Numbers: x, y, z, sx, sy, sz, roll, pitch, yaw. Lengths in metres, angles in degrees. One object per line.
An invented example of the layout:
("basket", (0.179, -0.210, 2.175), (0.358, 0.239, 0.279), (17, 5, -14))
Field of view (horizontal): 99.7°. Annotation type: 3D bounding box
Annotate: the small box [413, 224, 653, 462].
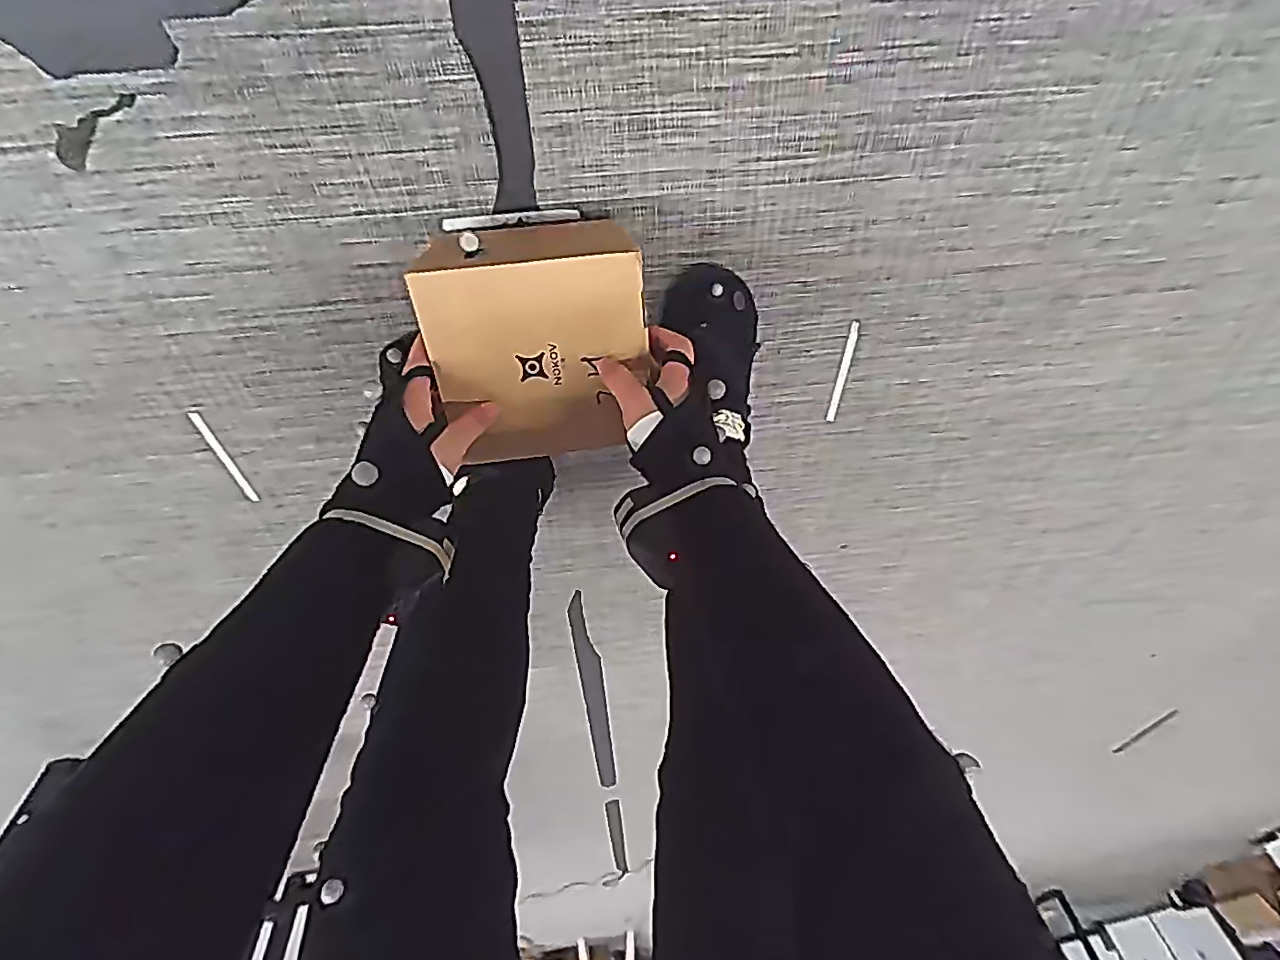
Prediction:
("small box", (-0.089, -0.136, 0.511), (0.179, 0.176, 0.168), (-8, 124, -6))
